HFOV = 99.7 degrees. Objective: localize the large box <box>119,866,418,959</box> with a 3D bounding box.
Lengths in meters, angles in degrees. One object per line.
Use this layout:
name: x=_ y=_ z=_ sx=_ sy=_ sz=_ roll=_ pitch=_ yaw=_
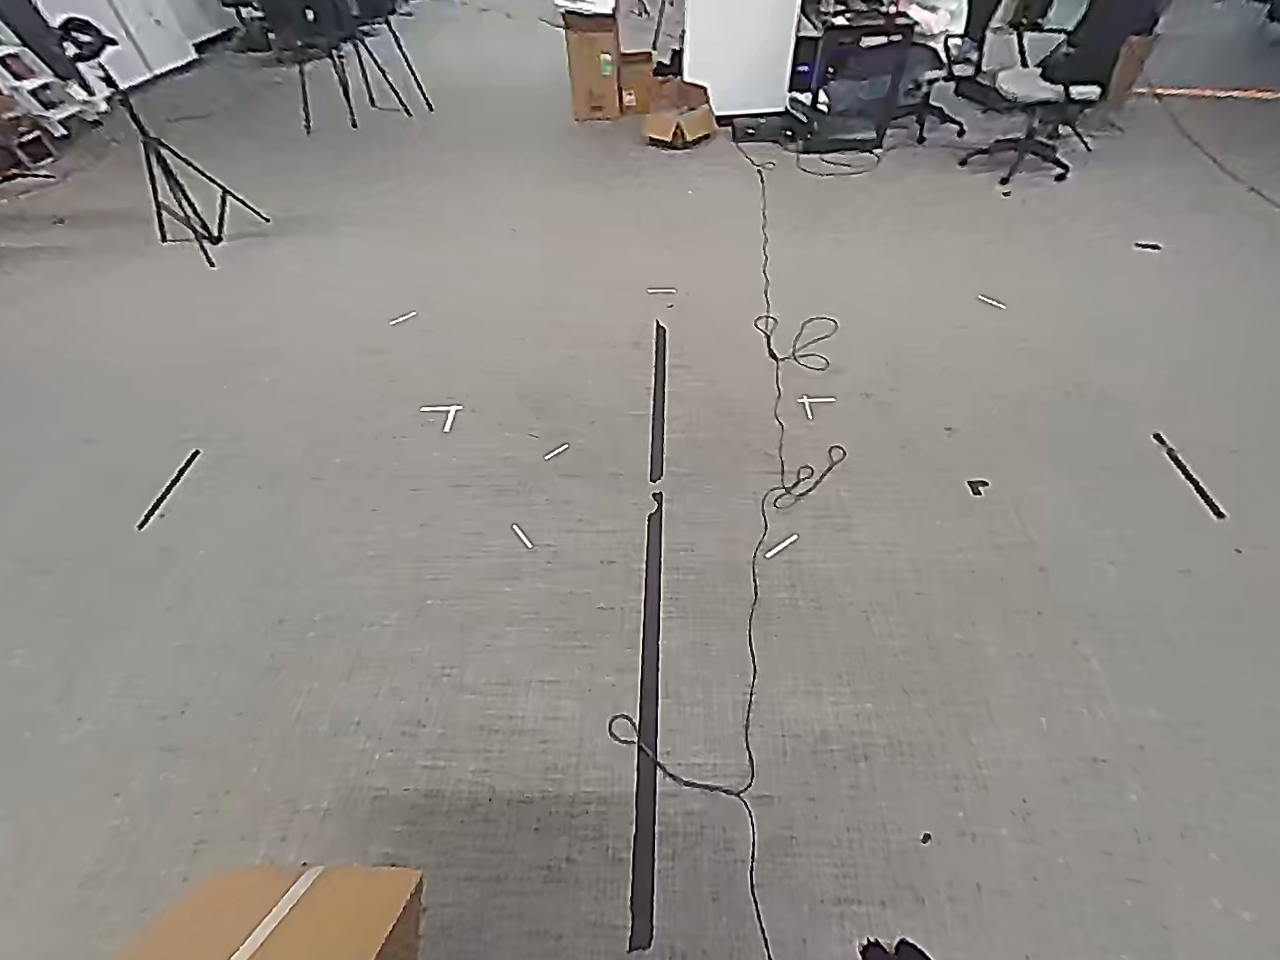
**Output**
large box: x=-0.496 y=0.744 z=0.631 sx=0.320 sy=0.408 sz=0.320 roll=2 pitch=87 yaw=-1
